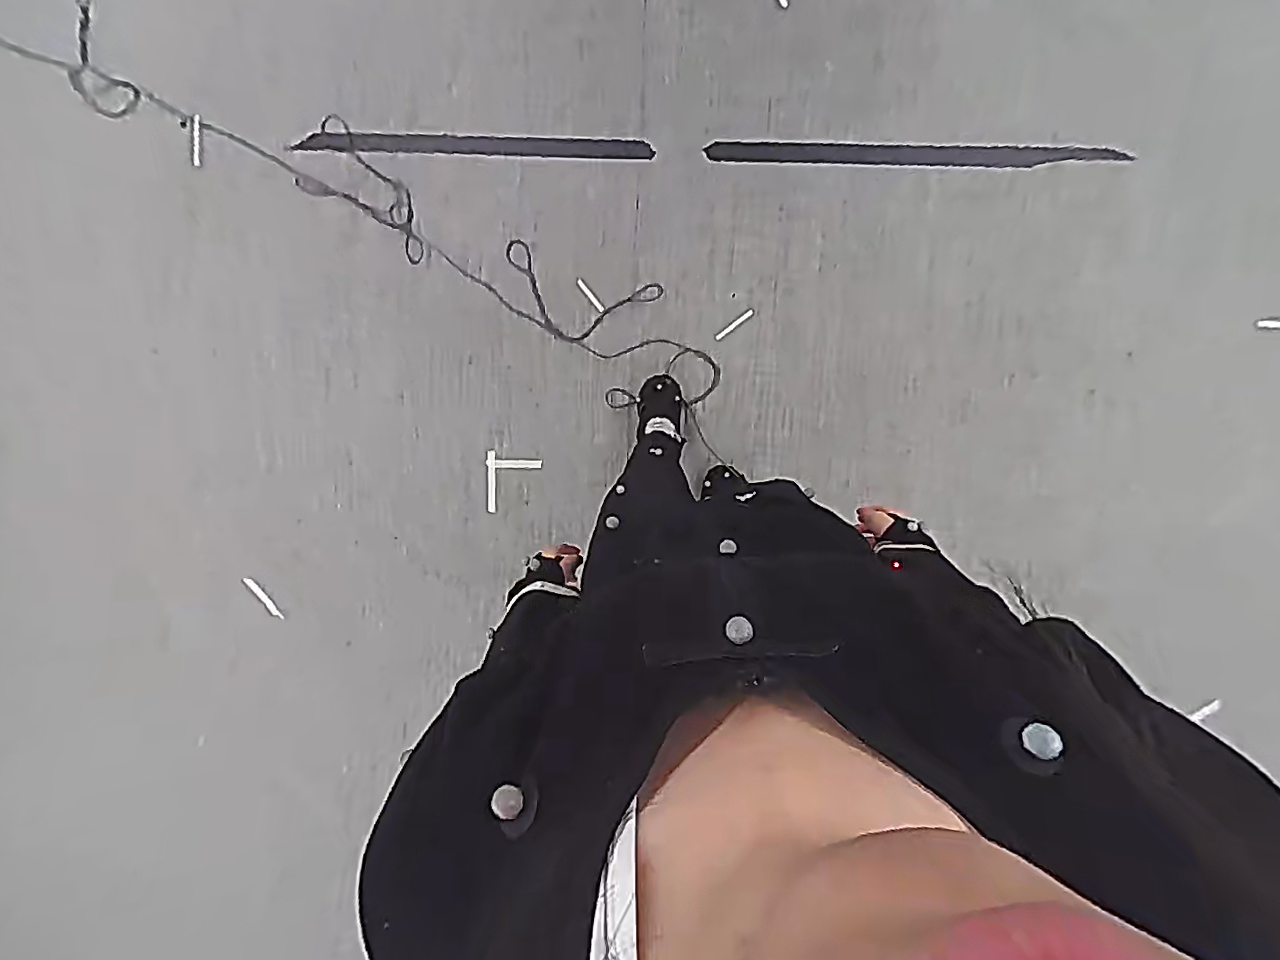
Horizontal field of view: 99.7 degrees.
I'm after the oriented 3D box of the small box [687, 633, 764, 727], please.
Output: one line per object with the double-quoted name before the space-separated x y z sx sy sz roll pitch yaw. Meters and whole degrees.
"small box" 0.217 0.512 1.413 0.168 0.176 0.179 -10 92 5
